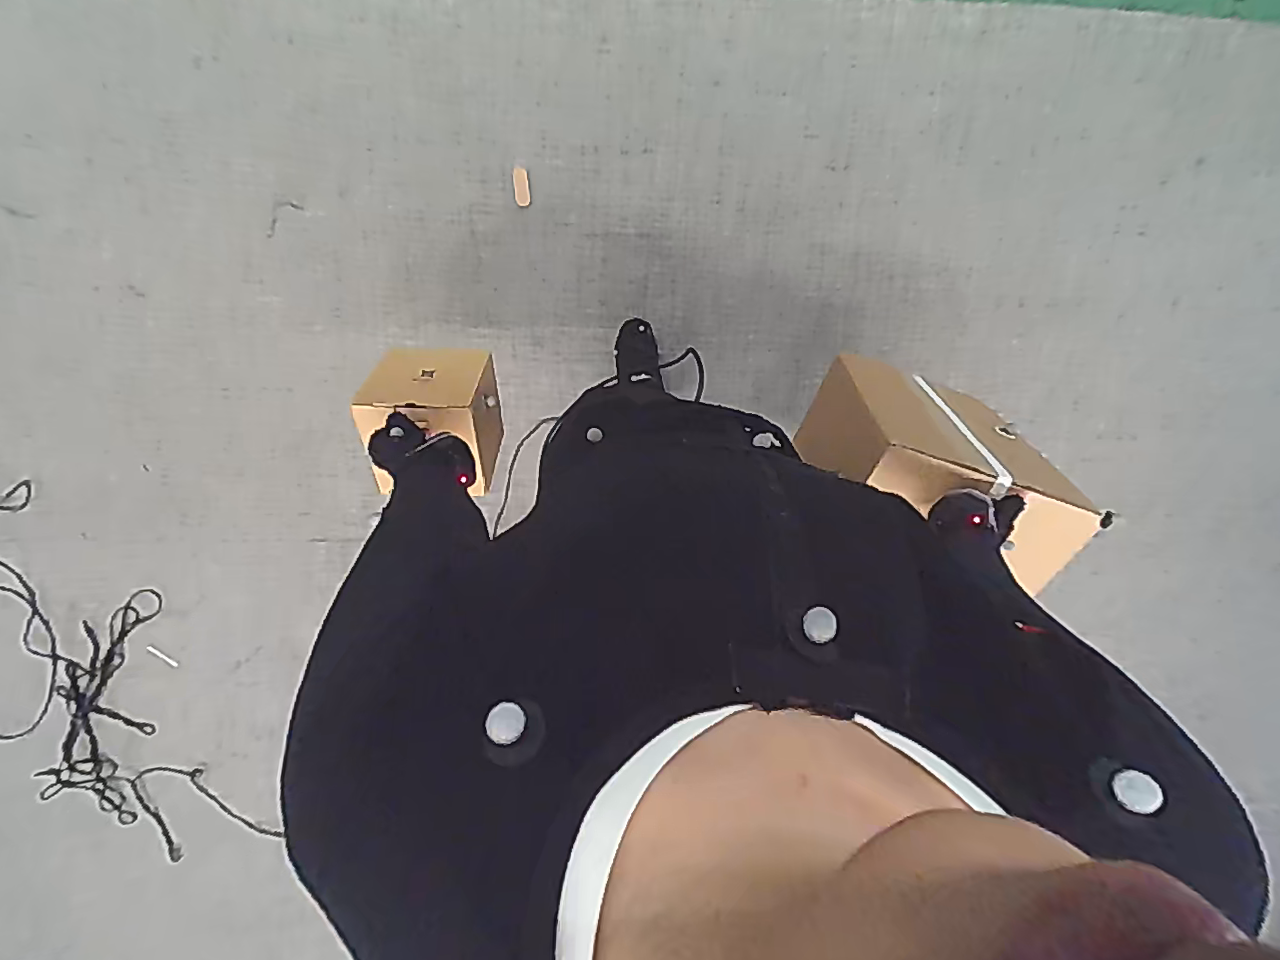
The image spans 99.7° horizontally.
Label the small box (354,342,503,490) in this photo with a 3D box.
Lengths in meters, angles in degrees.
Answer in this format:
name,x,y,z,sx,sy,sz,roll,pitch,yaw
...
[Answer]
name,x,y,z,sx,sy,sz,roll,pitch,yaw
small box,-0.321,-0.104,0.867,0.168,0.179,0.176,0,132,-2
